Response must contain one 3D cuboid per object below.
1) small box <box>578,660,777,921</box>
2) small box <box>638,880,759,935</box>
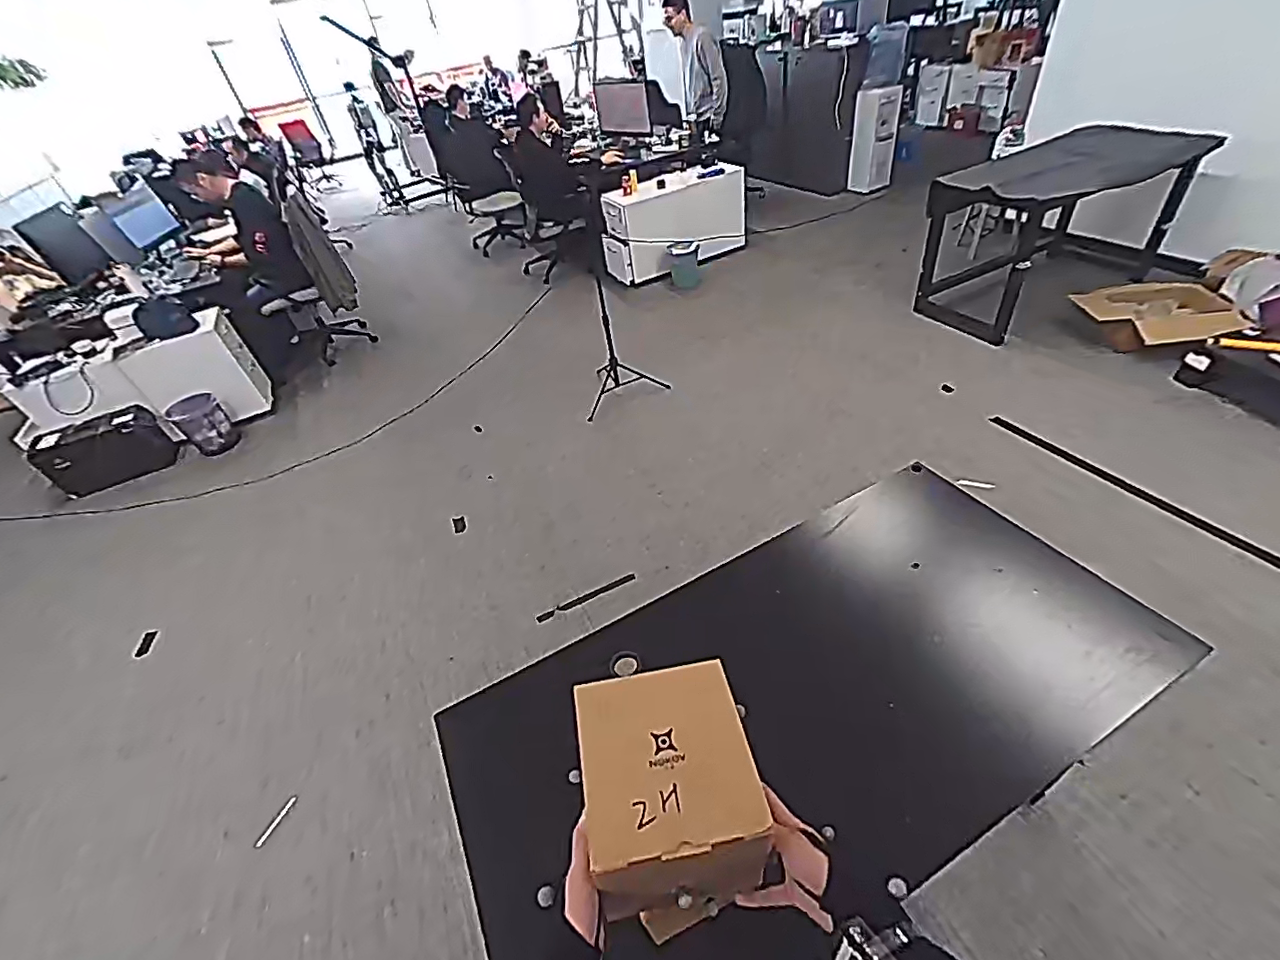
[{"bbox_3d":[0.028,0.324,0.572,0.168,0.176,0.179,-8,40,-6],"label":"small box"},{"bbox_3d":[0.053,0.476,0.734,0.168,0.176,0.179,-21,43,-12],"label":"small box"}]
